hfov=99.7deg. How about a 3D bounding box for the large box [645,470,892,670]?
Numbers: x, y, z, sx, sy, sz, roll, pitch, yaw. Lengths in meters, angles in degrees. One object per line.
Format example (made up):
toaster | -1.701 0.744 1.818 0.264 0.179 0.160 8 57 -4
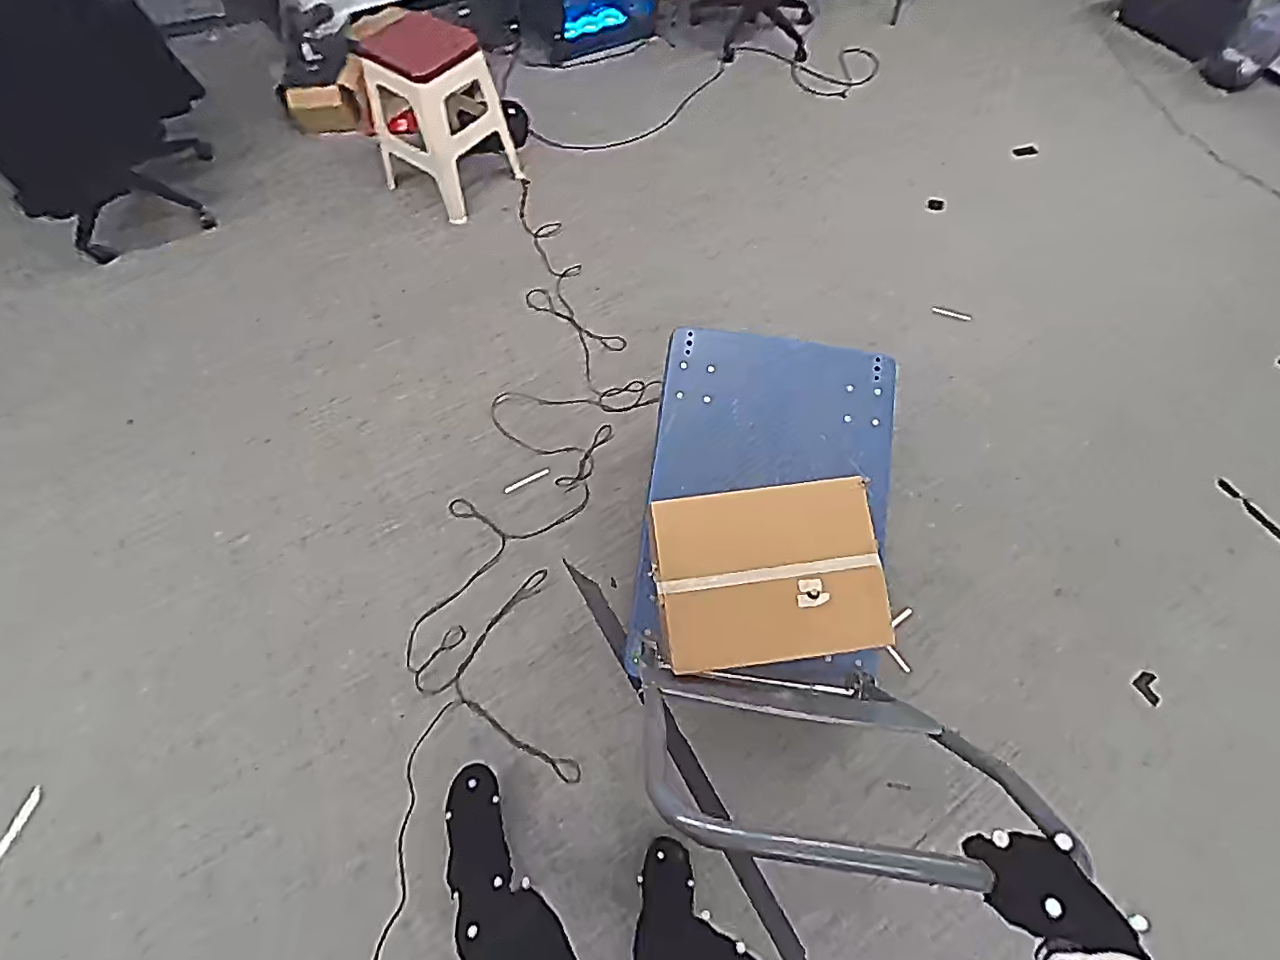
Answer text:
large box | 0.234 0.185 1.138 0.408 0.320 0.320 -8 82 -3
